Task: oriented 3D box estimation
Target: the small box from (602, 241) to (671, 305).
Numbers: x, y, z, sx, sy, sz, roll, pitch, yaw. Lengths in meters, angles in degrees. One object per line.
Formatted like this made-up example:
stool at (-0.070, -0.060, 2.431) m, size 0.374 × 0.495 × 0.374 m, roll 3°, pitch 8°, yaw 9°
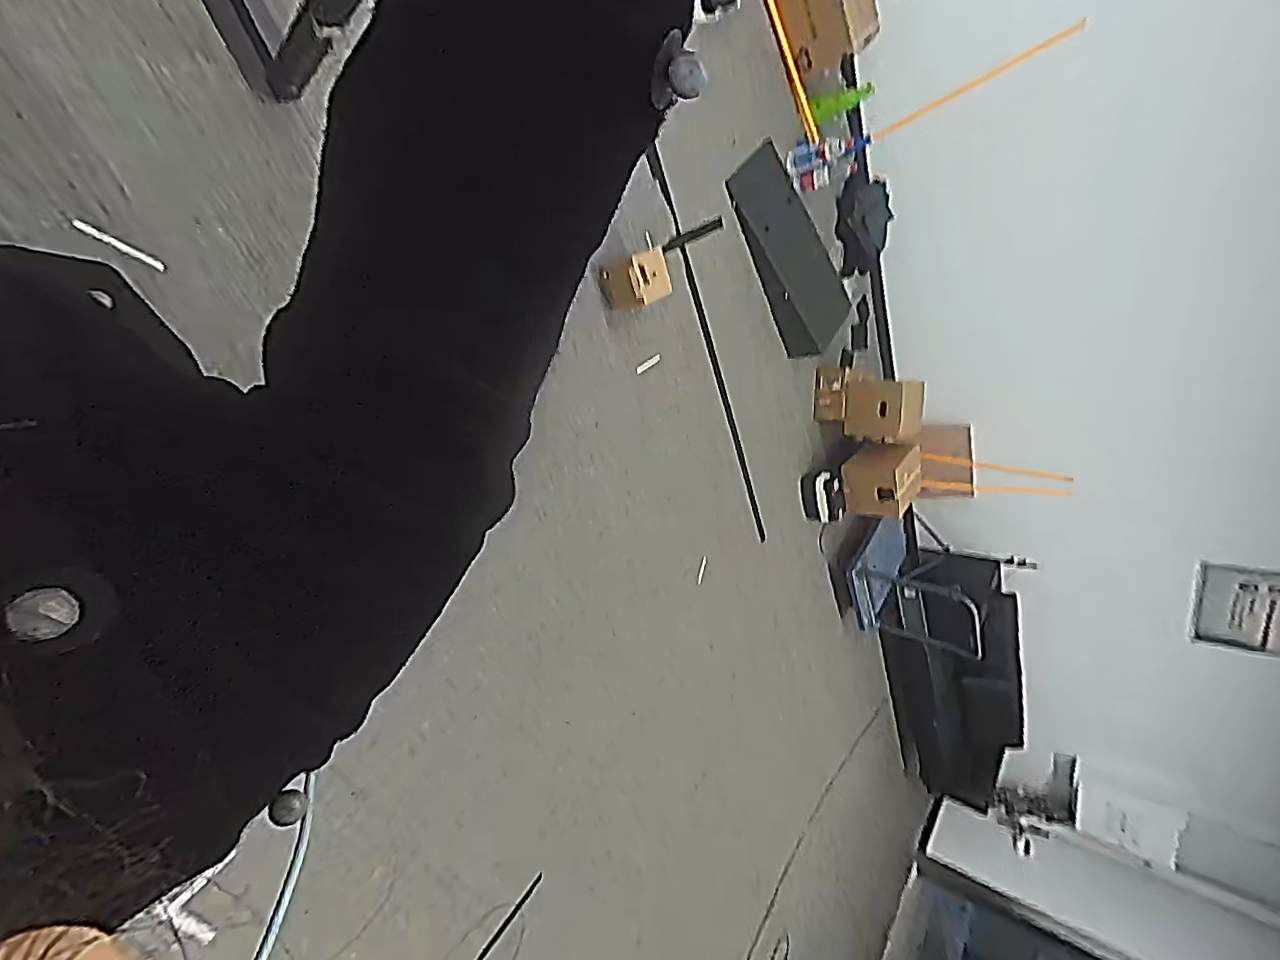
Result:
small box at (-0.019, -0.754, 1.981) m, size 0.179 × 0.176 × 0.168 m, roll -39°, pitch 122°, yaw -37°
